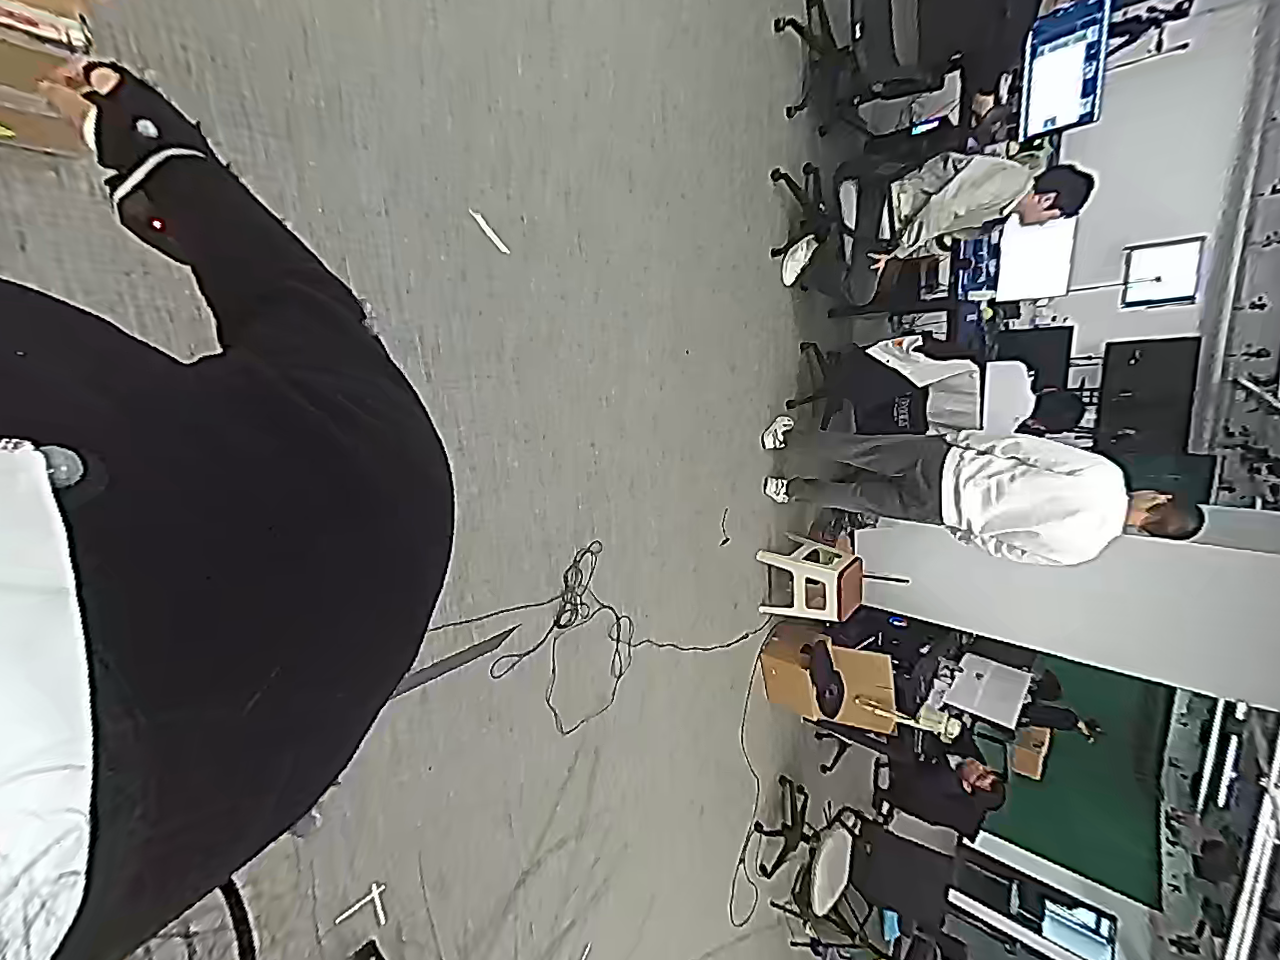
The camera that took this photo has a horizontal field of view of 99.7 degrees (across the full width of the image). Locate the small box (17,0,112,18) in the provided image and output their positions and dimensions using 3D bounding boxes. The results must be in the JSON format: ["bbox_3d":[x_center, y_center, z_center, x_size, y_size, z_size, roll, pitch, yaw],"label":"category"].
[{"bbox_3d":[-0.710,-0.657,0.592,0.179,0.176,0.168,-18,110,-46],"label":"small box"}]
